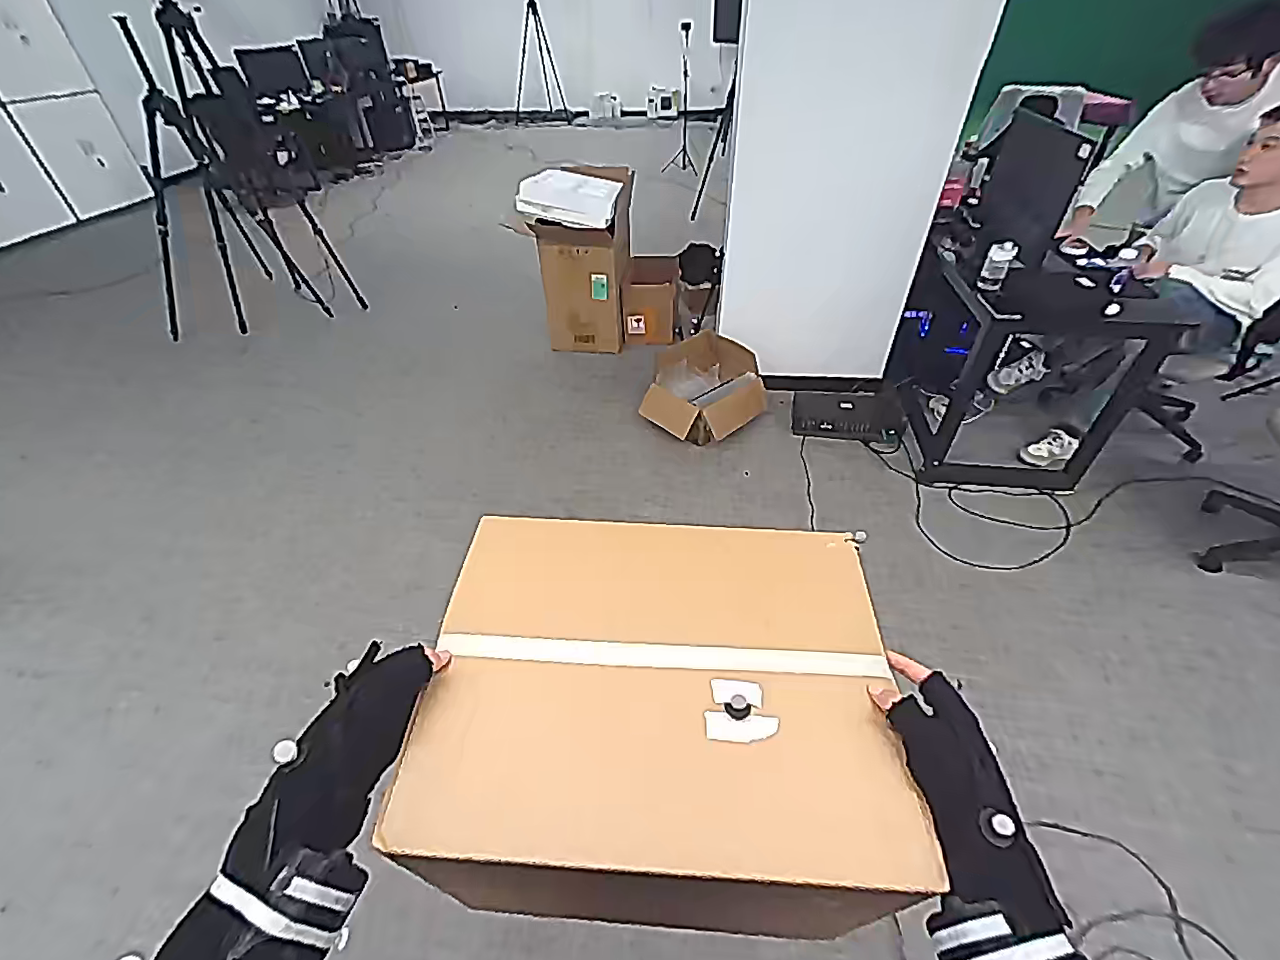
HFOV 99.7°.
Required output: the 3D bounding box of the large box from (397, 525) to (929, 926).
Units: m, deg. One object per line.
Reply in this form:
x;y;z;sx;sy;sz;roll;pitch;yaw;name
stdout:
0.019;0.272;0.605;0.408;0.320;0.320;3;45;2;large box
